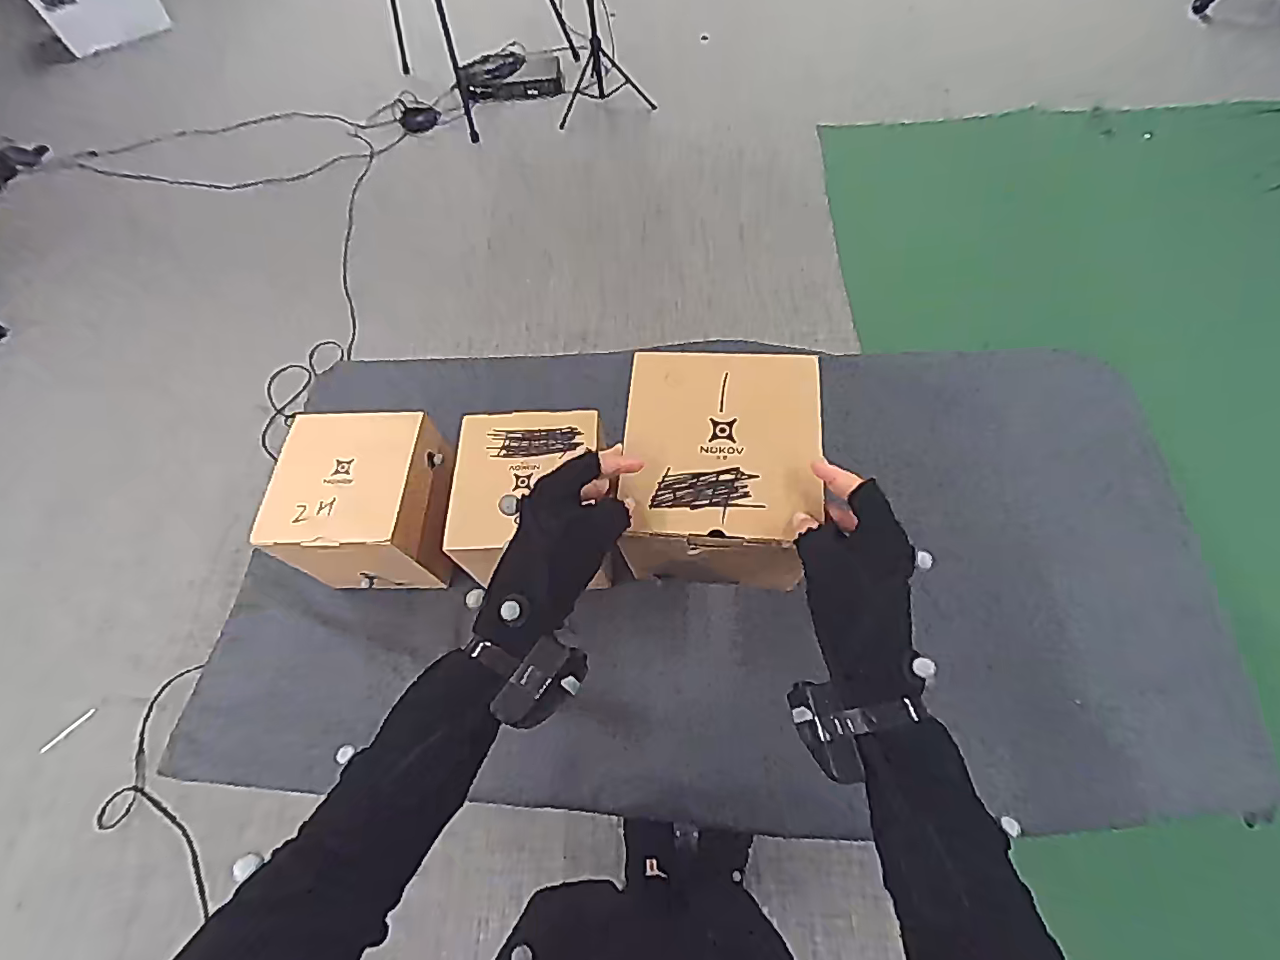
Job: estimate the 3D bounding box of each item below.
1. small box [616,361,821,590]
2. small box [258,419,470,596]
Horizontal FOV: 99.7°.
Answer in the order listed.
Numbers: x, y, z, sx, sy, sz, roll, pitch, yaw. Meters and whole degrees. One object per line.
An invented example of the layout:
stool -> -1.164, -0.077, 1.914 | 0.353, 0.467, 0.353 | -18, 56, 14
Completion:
small box -> 0.079, 0.004, 0.532 | 0.168, 0.176, 0.179 | 3, 66, 8
small box -> -0.336, 0.039, 0.704 | 0.168, 0.176, 0.179 | -1, 61, 4
